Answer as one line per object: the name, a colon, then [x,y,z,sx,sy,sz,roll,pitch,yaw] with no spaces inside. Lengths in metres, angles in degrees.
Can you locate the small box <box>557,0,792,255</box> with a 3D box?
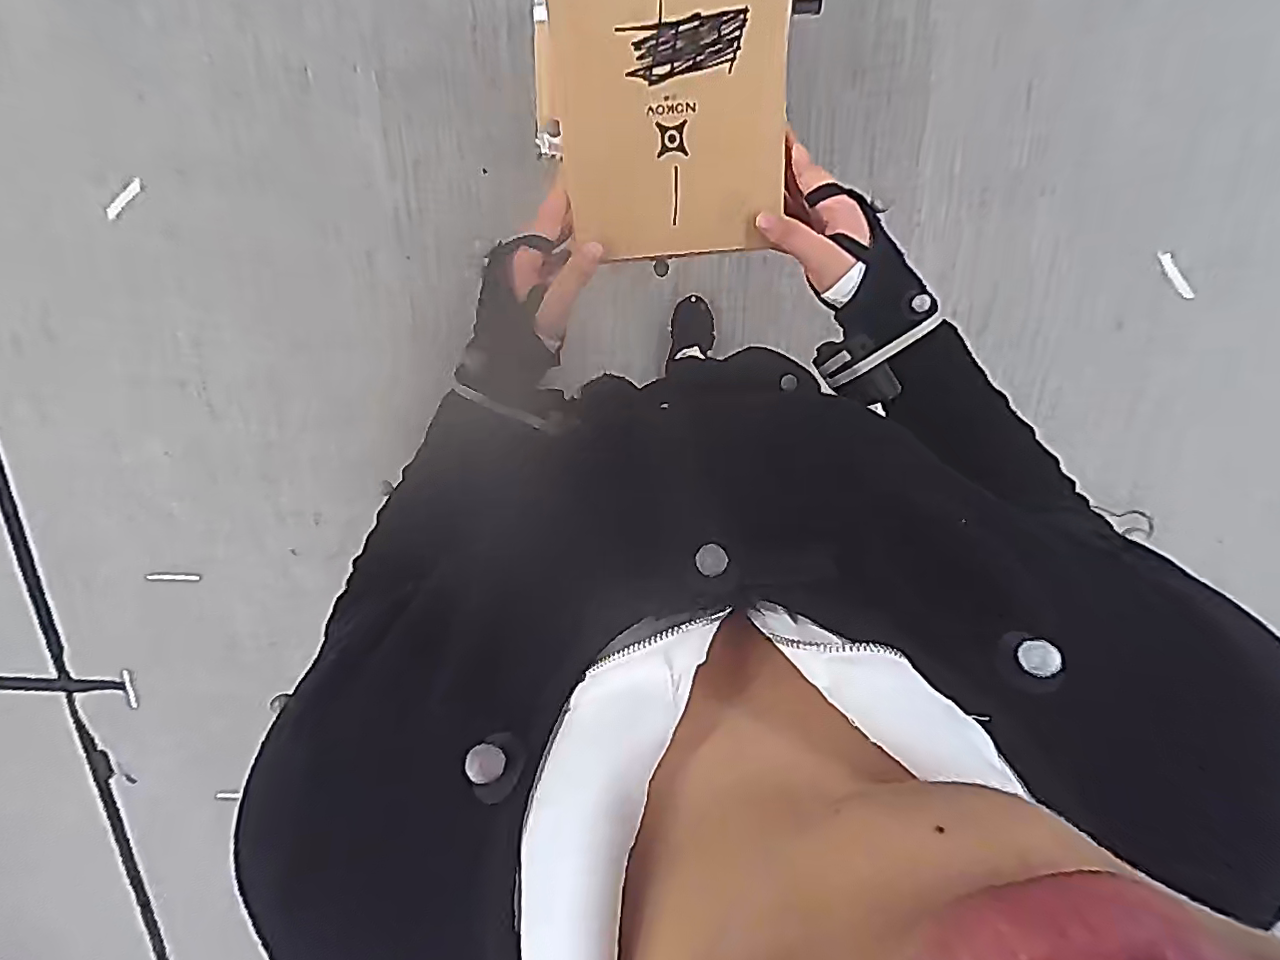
small box: [0.025,-0.297,0.468,0.168,0.176,0.179,-6,112,0]
